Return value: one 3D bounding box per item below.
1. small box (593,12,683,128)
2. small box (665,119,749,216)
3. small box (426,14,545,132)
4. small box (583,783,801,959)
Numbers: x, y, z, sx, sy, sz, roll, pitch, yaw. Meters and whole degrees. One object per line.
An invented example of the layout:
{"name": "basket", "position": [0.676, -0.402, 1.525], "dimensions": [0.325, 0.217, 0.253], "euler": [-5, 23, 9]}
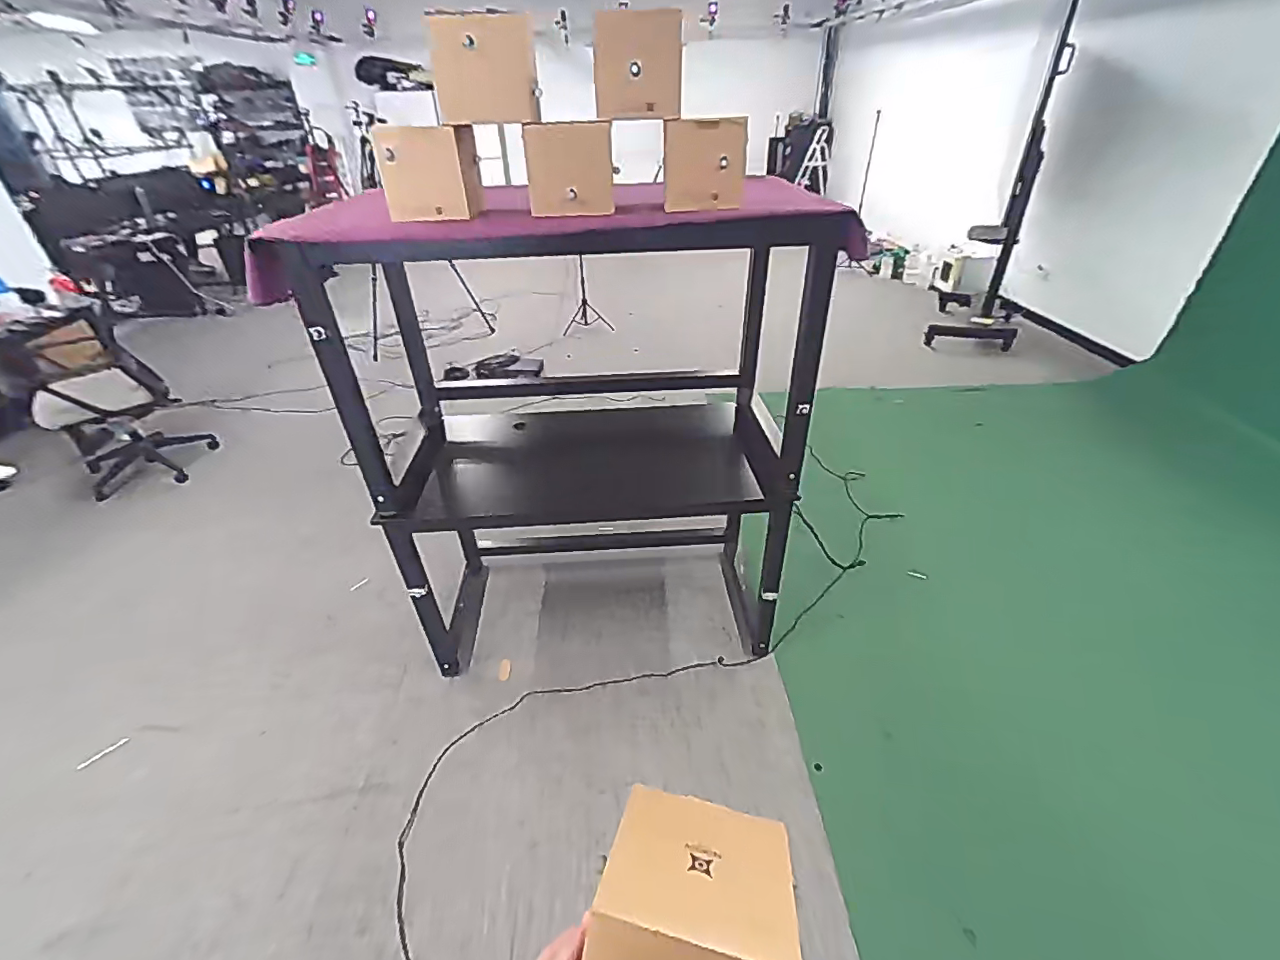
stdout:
{"name": "small box", "position": [0.002, -0.803, 1.073], "dimensions": [0.168, 0.176, 0.179], "euler": [0, 34, 1]}
{"name": "small box", "position": [0.138, -0.671, 1.164], "dimensions": [0.168, 0.176, 0.179], "euler": [-1, 33, 2]}
{"name": "small box", "position": [-0.292, -0.788, 1.061], "dimensions": [0.179, 0.176, 0.168], "euler": [-1, 34, -1]}
{"name": "small box", "position": [0.044, 0.423, 0.492], "dimensions": [0.168, 0.176, 0.179], "euler": [10, 3, 10]}
